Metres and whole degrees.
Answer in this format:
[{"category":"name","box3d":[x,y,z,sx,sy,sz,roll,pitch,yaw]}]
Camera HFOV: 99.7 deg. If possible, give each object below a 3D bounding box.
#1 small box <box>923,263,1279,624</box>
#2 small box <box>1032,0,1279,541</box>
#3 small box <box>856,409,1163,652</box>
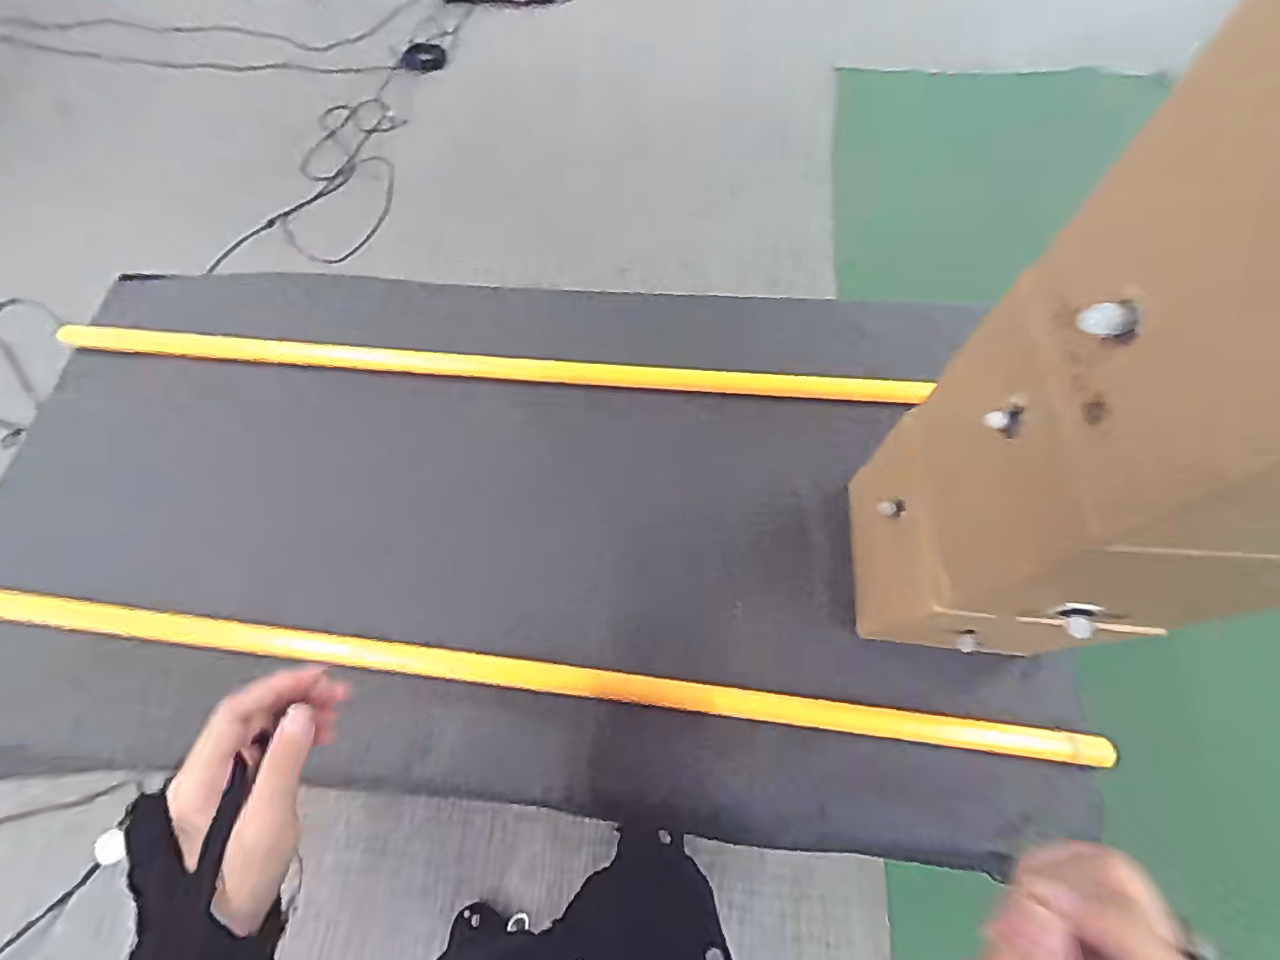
[{"category":"small box","box3d":[0.307,-0.013,0.352,0.168,0.176,0.179,2,66,5]},{"category":"small box","box3d":[0.299,-0.078,0.202,0.179,0.176,0.168,2,65,6]},{"category":"small box","box3d":[0.310,0.055,0.500,0.168,0.176,0.179,5,66,5]}]
